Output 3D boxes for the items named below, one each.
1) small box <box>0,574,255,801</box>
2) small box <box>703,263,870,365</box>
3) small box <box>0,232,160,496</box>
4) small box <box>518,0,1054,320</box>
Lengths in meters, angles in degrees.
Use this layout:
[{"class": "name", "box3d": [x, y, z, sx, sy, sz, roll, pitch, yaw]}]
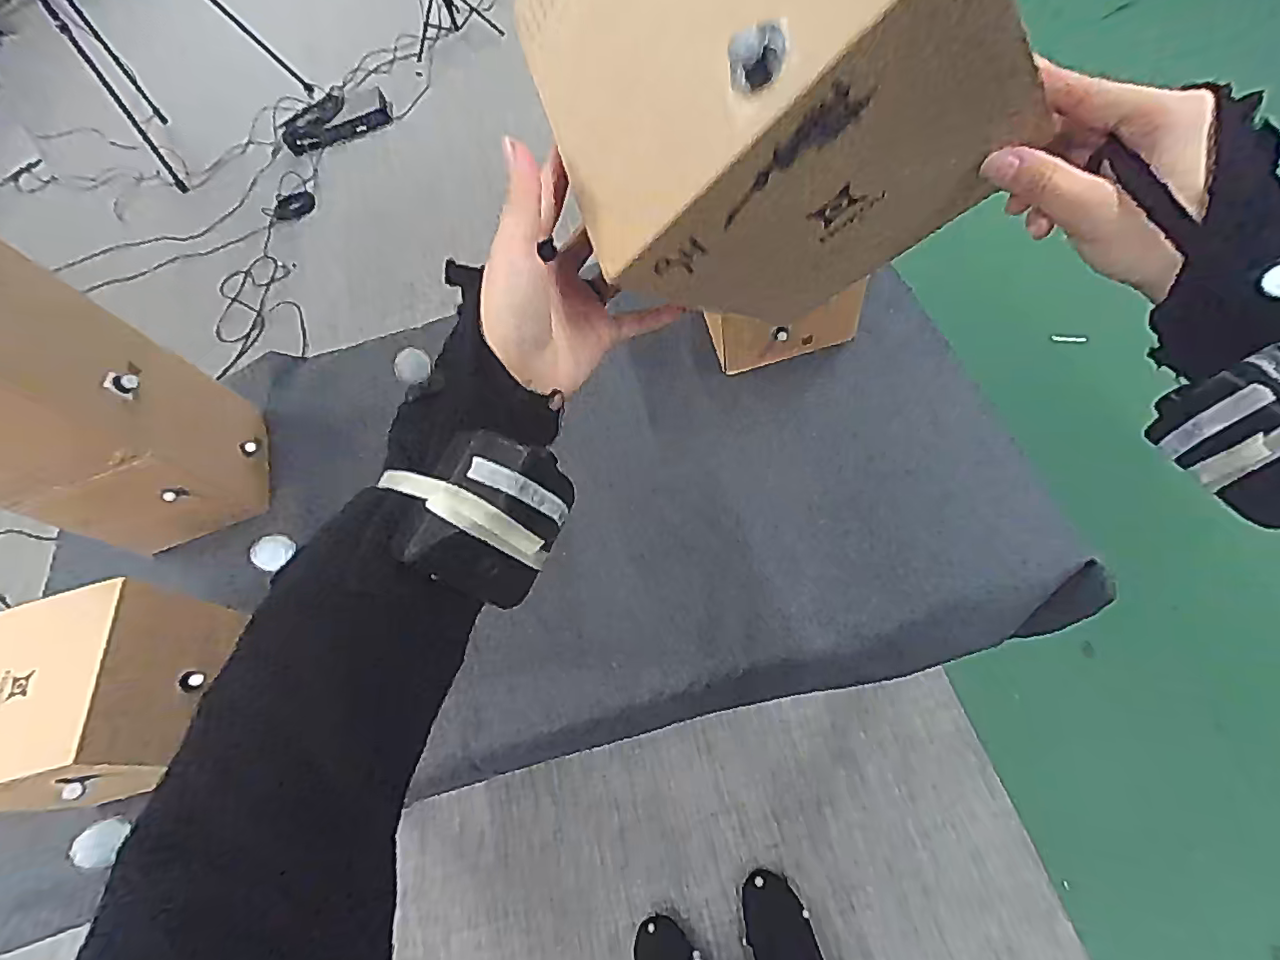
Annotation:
[{"class": "small box", "box3d": [-0.538, 0.215, 0.549, 0.179, 0.176, 0.168, -16, 60, 3]}, {"class": "small box", "box3d": [0.154, -0.270, 0.644, 0.168, 0.176, 0.179, -16, 65, 4]}, {"class": "small box", "box3d": [-0.645, -0.105, 0.542, 0.179, 0.176, 0.168, -21, 65, -1]}, {"class": "small box", "box3d": [0.068, -0.207, 0.271, 0.168, 0.179, 0.176, -29, 74, 40]}]
